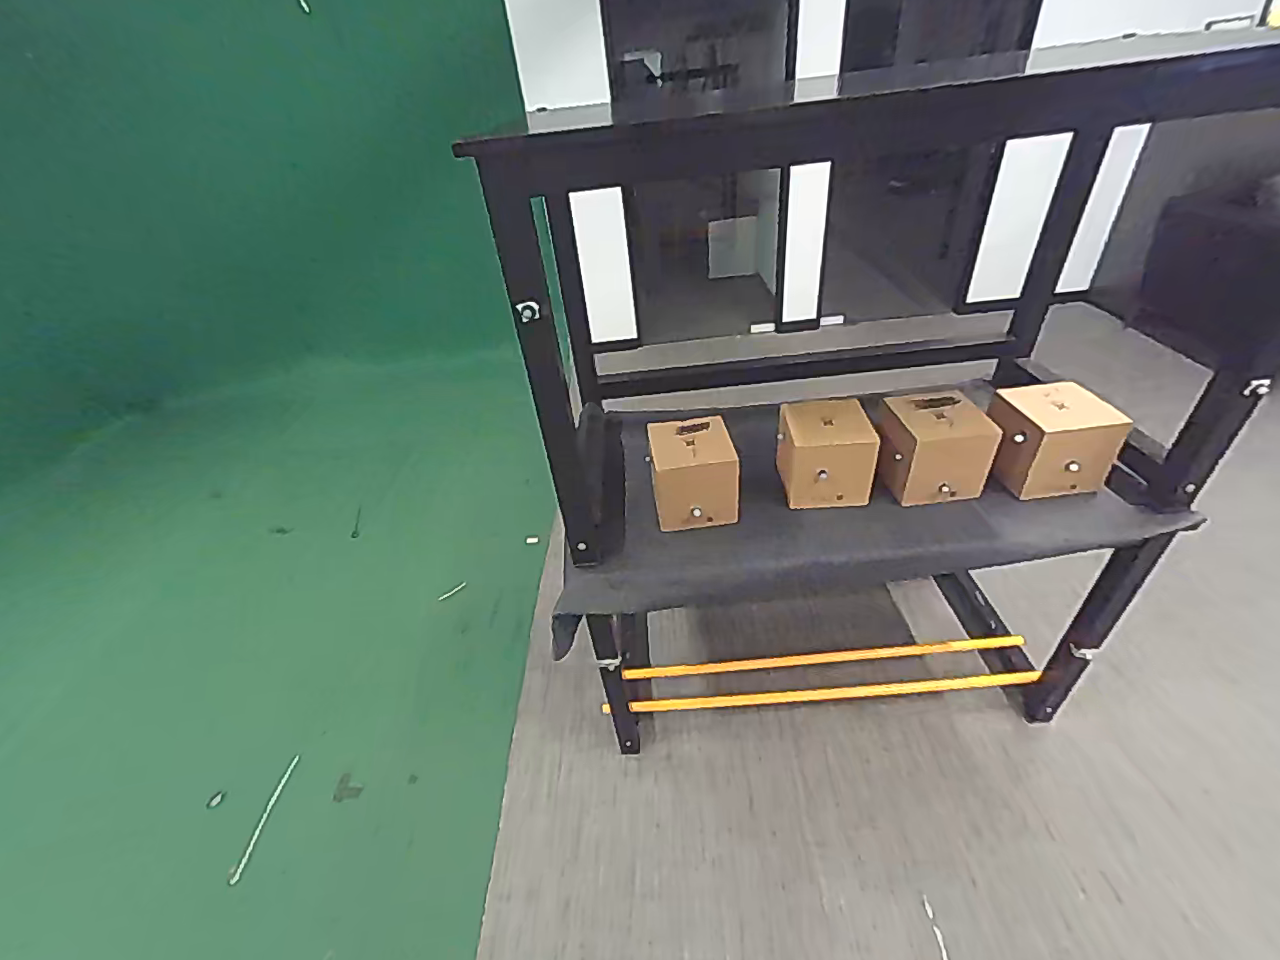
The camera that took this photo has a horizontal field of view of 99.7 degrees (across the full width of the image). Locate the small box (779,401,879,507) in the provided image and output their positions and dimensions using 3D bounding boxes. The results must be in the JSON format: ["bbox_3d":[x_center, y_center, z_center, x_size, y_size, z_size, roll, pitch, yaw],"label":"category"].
[{"bbox_3d":[0.400,-0.052,1.174,0.168,0.176,0.179,-3,36,5],"label":"small box"}]

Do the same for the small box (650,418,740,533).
[{"bbox_3d":[0.114,-0.011,1.164,0.168,0.176,0.179,-8,37,-1],"label":"small box"}]

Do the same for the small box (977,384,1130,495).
[{"bbox_3d":[0.845,-0.080,1.128,0.168,0.176,0.179,-6,36,1],"label":"small box"}]
